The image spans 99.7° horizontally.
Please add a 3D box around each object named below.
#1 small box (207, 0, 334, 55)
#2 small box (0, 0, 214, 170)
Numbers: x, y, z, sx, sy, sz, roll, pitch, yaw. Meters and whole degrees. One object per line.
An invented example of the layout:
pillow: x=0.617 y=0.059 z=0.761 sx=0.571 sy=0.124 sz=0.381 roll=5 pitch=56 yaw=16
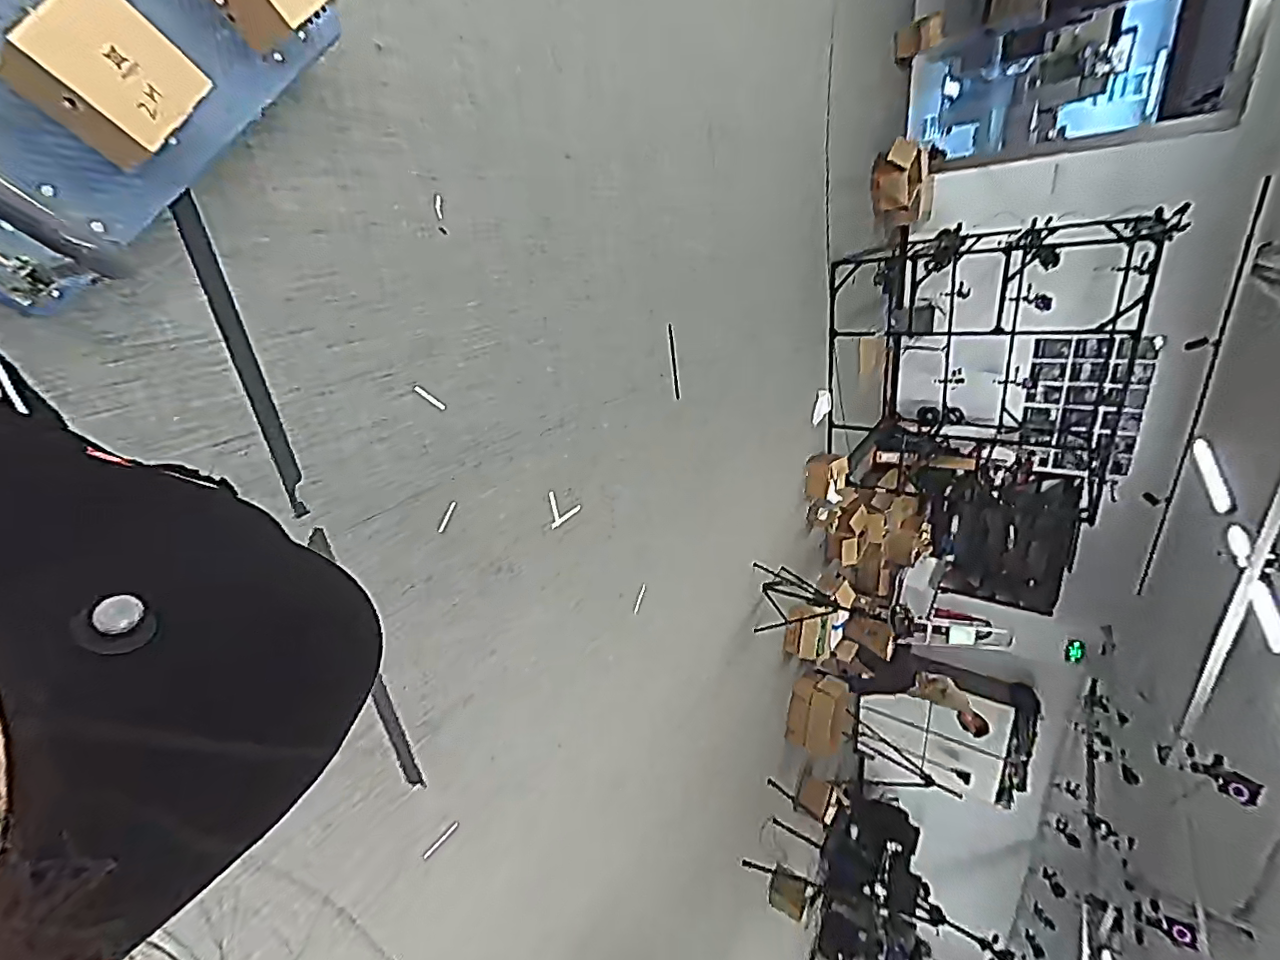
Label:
small box: x=-0.692 y=-0.936 z=0.995 sx=0.168 sy=0.176 sz=0.179 roll=51 pitch=59 yaw=-47
small box: x=-0.844 y=-0.633 z=0.858 sx=0.179 sy=0.176 sz=0.168 roll=44 pitch=63 yaw=-50
